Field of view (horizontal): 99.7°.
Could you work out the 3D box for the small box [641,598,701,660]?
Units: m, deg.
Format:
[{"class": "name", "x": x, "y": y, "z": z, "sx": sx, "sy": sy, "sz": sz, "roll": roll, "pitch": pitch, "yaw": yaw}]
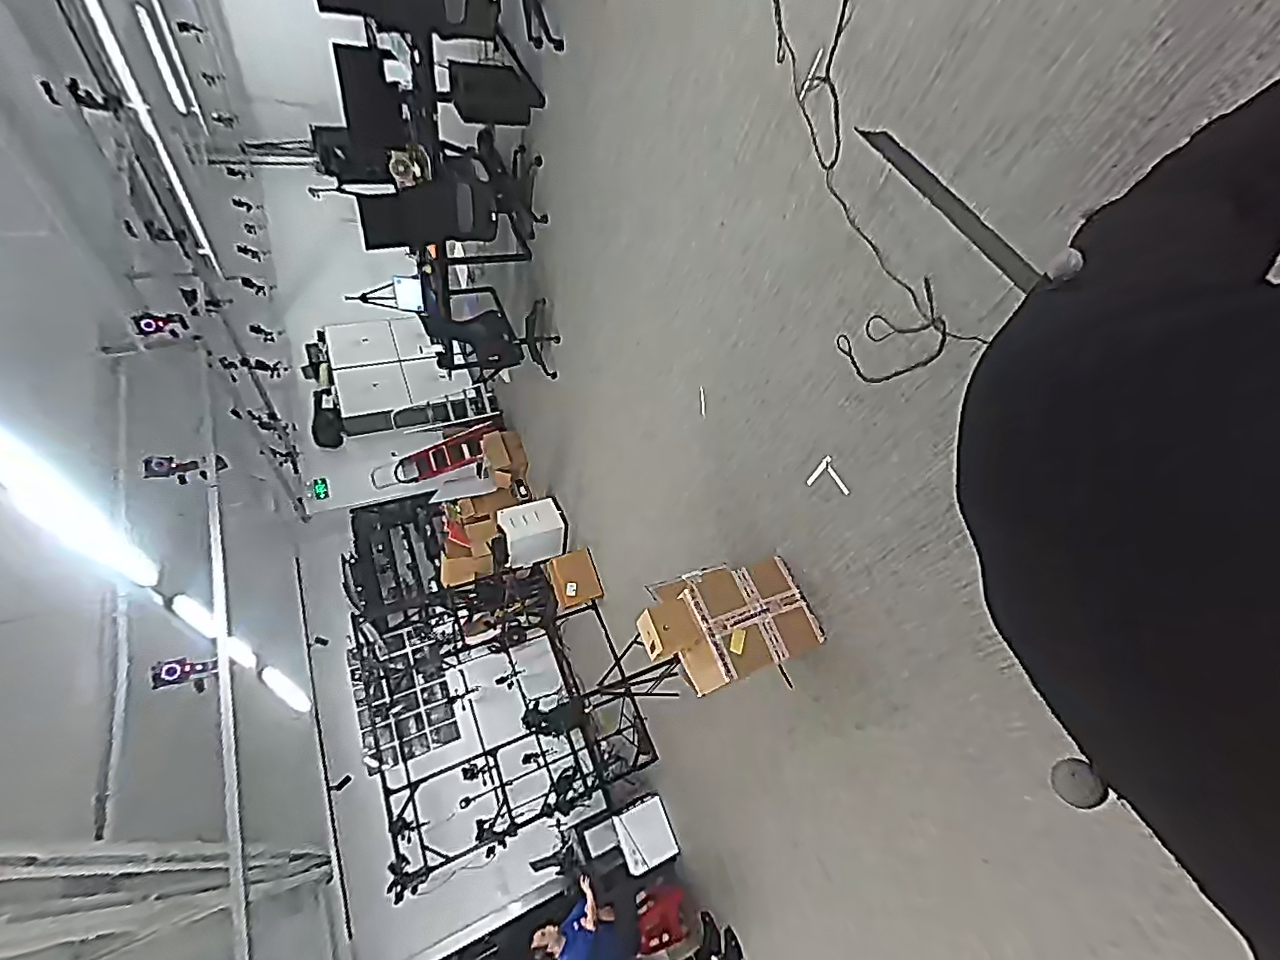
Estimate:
[{"class": "small box", "x": 0.128, "y": 0.604, "z": 2.205, "sx": 0.179, "sy": 0.176, "sz": 0.168, "roll": 66, "pitch": 152, "yaw": 27}]
